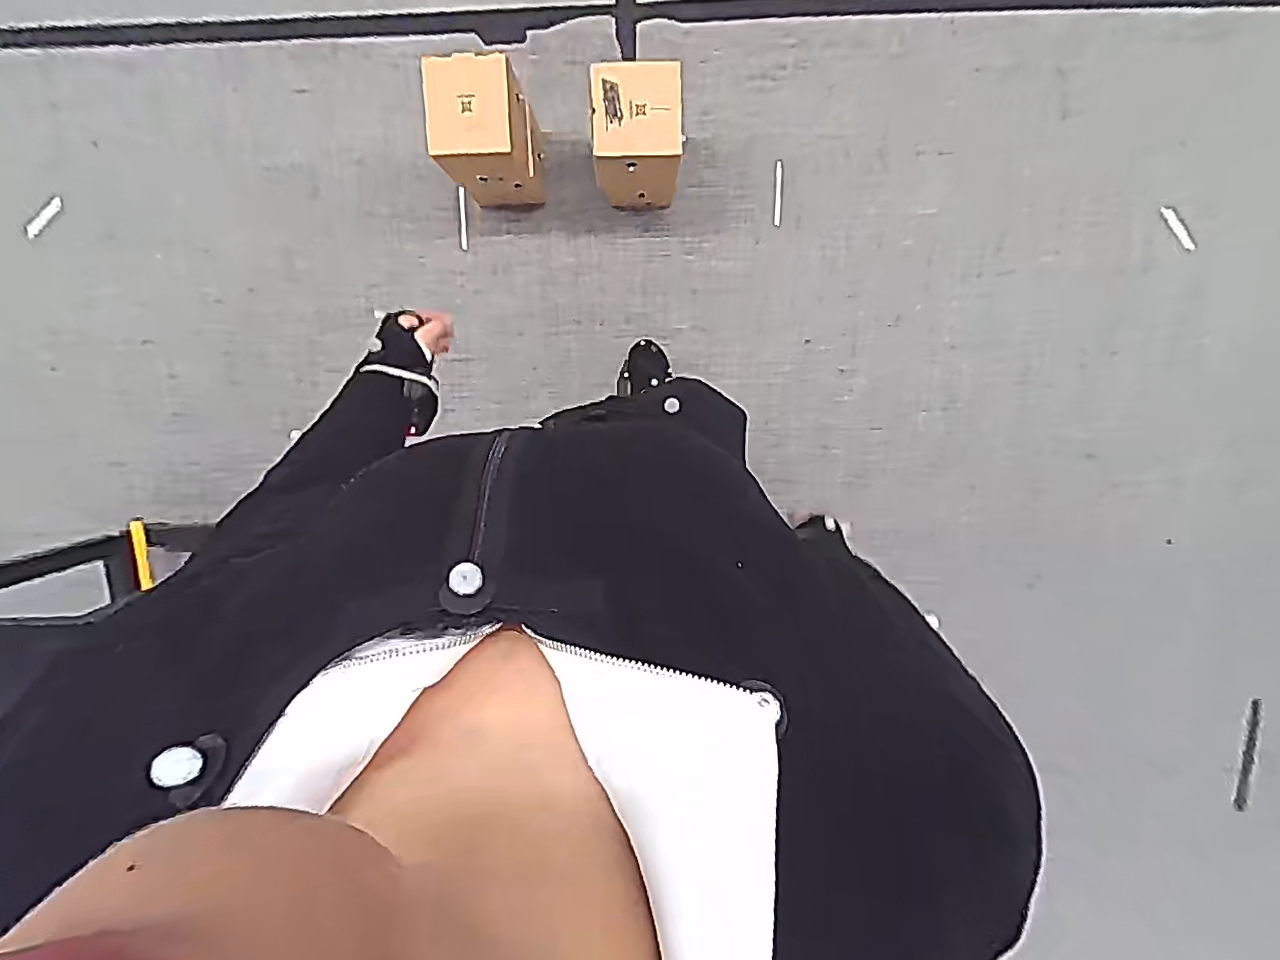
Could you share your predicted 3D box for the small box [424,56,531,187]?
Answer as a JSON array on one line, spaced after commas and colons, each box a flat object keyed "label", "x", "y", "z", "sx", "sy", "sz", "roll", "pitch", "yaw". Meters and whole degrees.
[{"label": "small box", "x": -0.327, "y": -0.730, "z": 1.117, "sx": 0.168, "sy": 0.176, "sz": 0.179, "roll": -1, "pitch": 101, "yaw": 2}]

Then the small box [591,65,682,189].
[{"label": "small box", "x": -0.005, "y": -0.717, "z": 1.115, "sx": 0.179, "sy": 0.176, "sz": 0.168, "roll": -1, "pitch": 100, "yaw": 0}]

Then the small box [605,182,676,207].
[{"label": "small box", "x": 0.005, "y": -0.761, "z": 1.276, "sx": 0.168, "sy": 0.176, "sz": 0.179, "roll": 1, "pitch": 100, "yaw": 0}]

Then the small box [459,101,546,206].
[{"label": "small box", "x": -0.322, "y": -0.762, "z": 1.276, "sx": 0.179, "sy": 0.176, "sz": 0.168, "roll": -2, "pitch": 99, "yaw": 2}]
